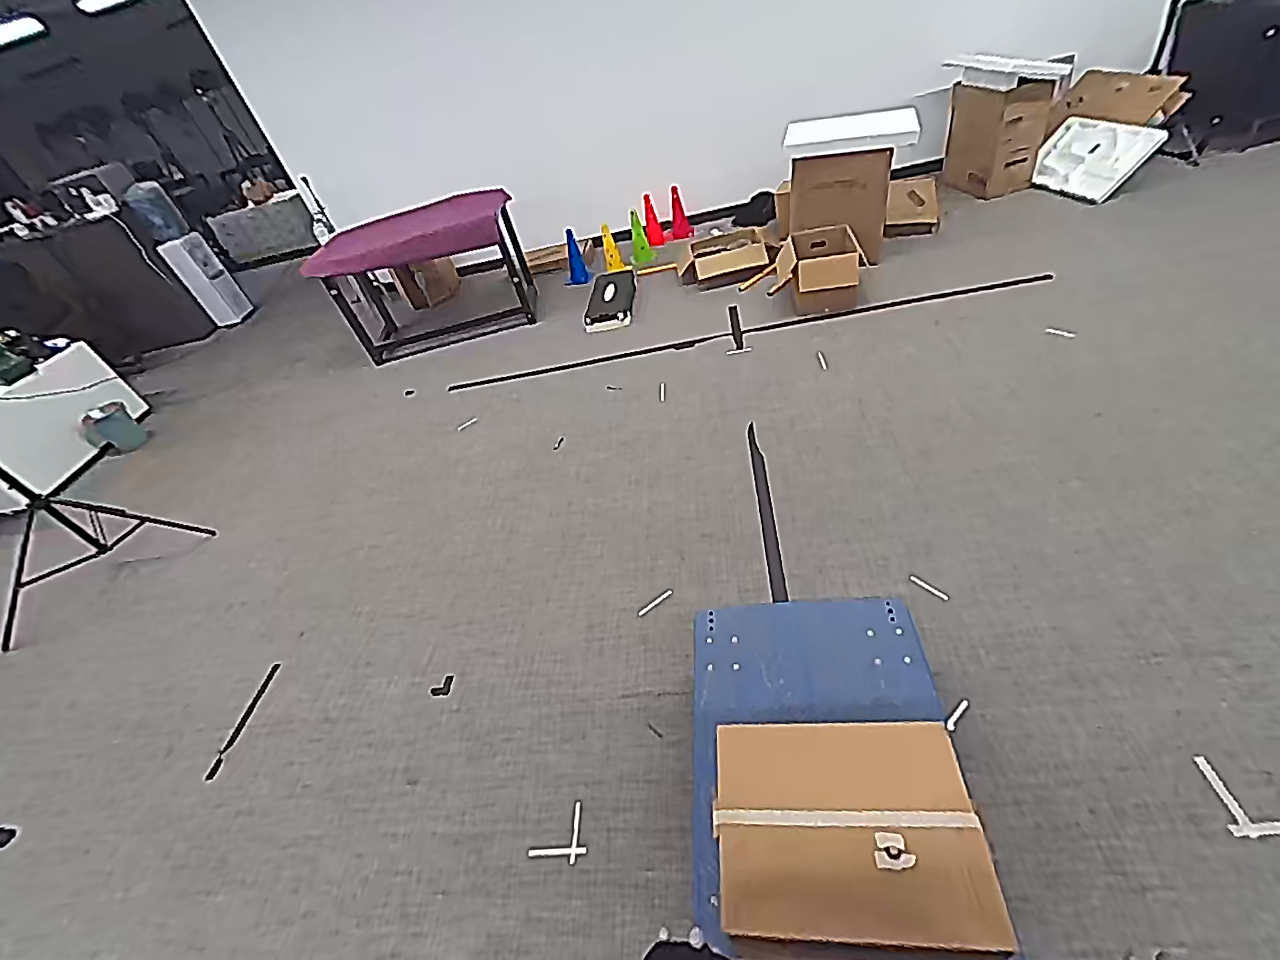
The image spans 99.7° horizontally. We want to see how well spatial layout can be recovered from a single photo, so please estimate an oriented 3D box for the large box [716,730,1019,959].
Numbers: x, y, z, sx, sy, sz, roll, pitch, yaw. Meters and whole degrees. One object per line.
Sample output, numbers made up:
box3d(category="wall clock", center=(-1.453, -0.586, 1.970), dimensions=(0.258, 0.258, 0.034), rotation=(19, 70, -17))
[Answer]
box3d(category="large box", center=(0.356, 0.671, 0.964), dimensions=(0.408, 0.320, 0.320), rotation=(-6, 42, 11))
